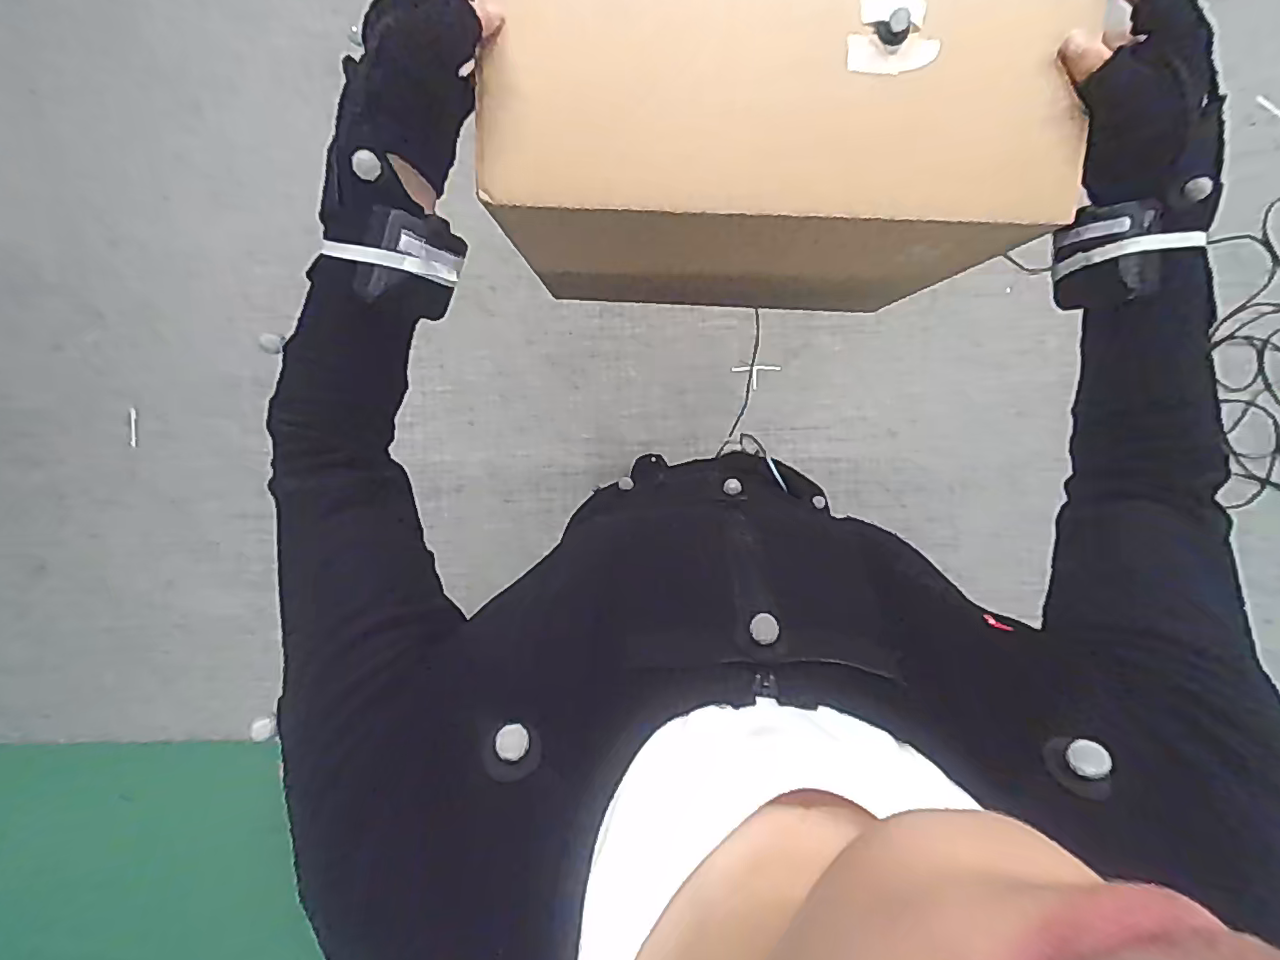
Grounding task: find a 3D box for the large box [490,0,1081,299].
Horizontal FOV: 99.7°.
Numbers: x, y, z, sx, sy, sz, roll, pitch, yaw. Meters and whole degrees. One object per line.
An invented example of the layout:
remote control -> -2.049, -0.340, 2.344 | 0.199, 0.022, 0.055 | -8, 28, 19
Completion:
large box -> 0.096, -0.361, 0.509 | 0.408, 0.320, 0.320 | 2, 97, 0
